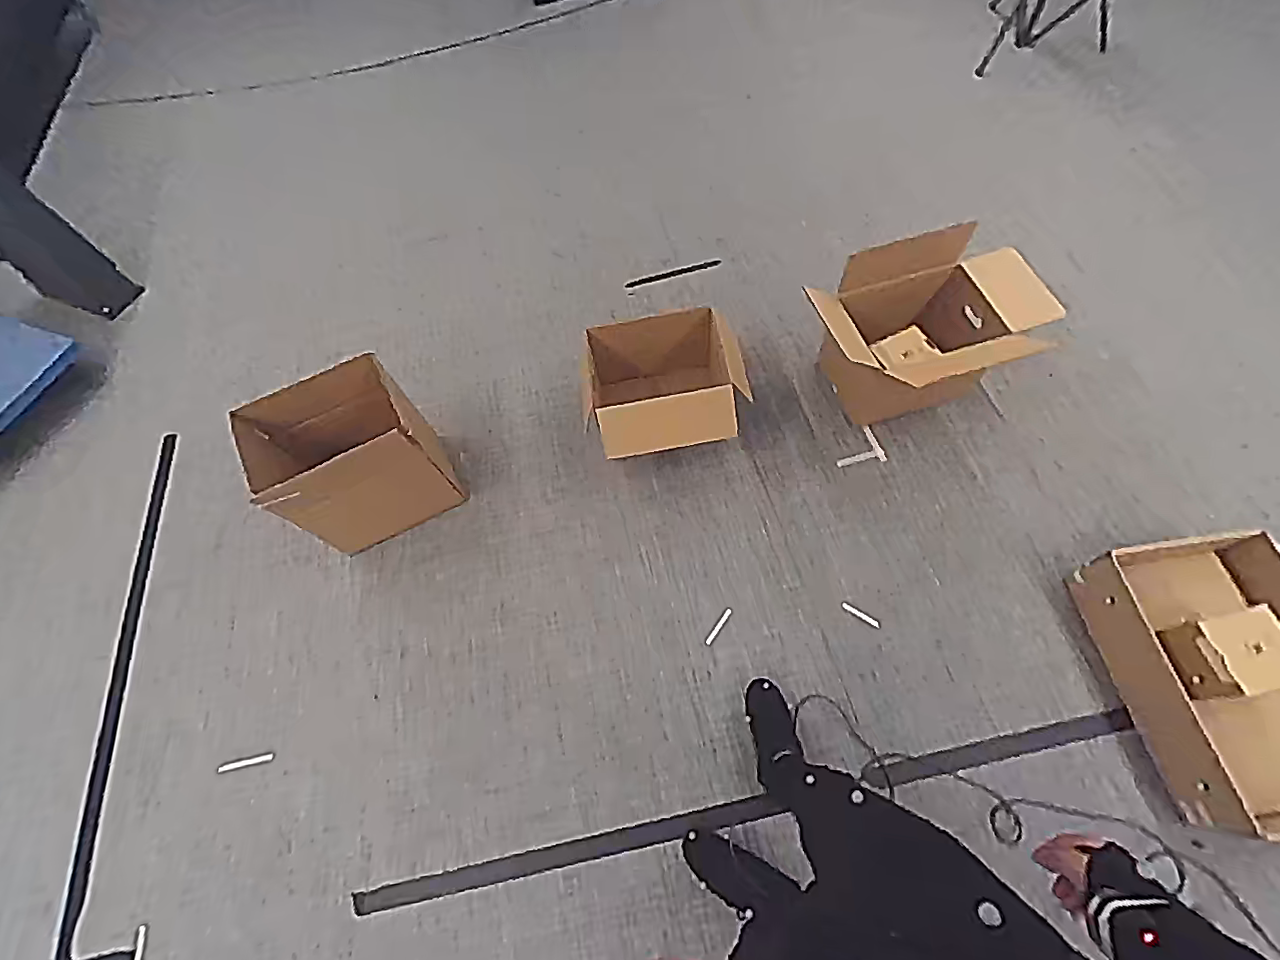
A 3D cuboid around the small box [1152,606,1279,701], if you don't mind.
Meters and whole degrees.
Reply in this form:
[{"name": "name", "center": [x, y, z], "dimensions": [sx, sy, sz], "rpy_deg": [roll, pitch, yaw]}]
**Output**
[{"name": "small box", "center": [1.372, 0.412, 1.269], "dimensions": [0.179, 0.176, 0.168], "rpy_deg": [-13, 64, -1]}]
